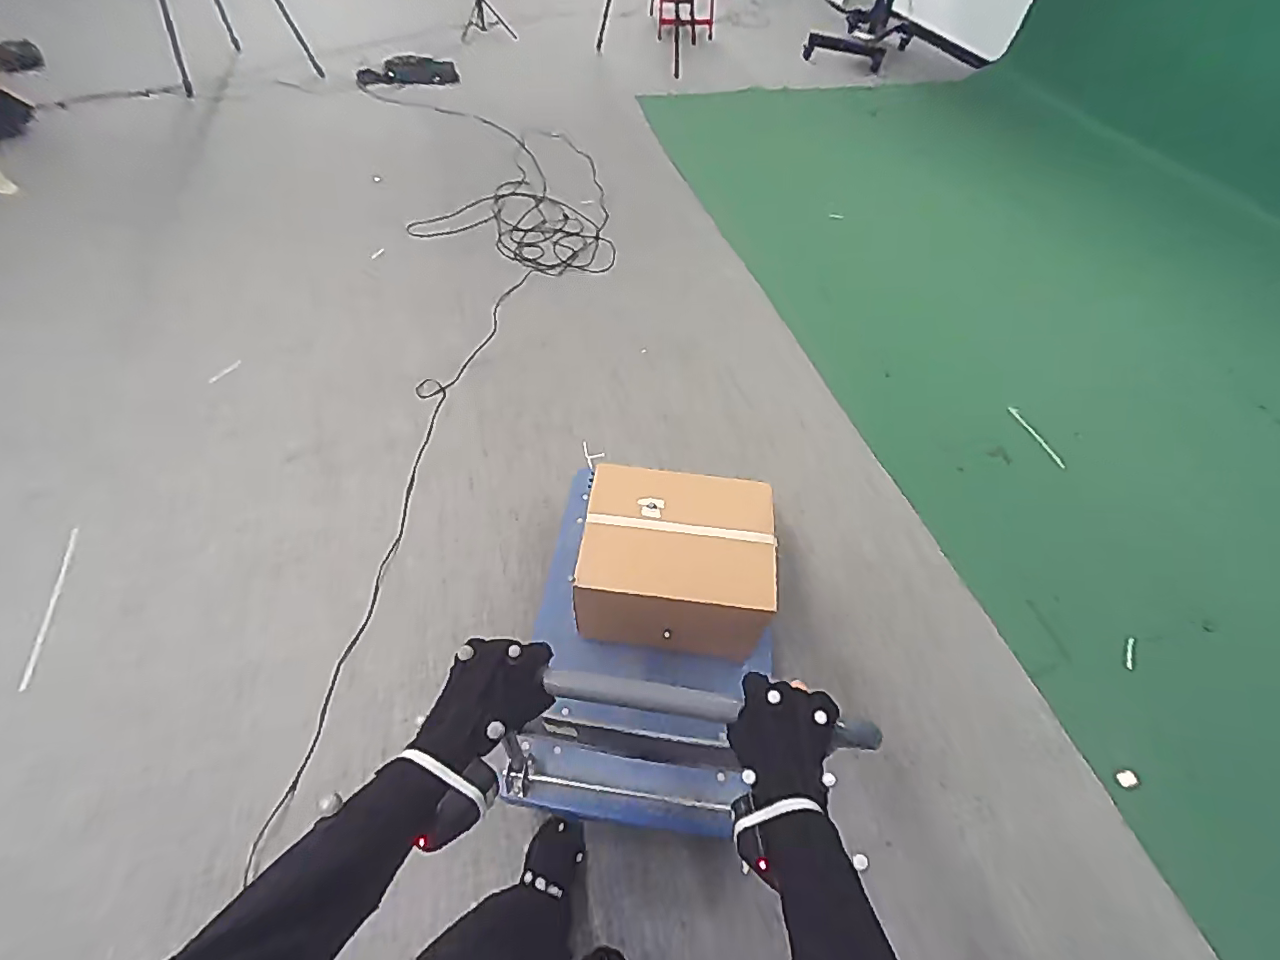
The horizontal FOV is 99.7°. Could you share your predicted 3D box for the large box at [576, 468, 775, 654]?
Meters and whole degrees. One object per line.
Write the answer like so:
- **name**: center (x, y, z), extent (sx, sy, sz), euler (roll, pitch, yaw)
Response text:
- **large box**: center (0.081, 0.199, 1.275), extent (0.408, 0.320, 0.320), euler (6, 53, 2)
